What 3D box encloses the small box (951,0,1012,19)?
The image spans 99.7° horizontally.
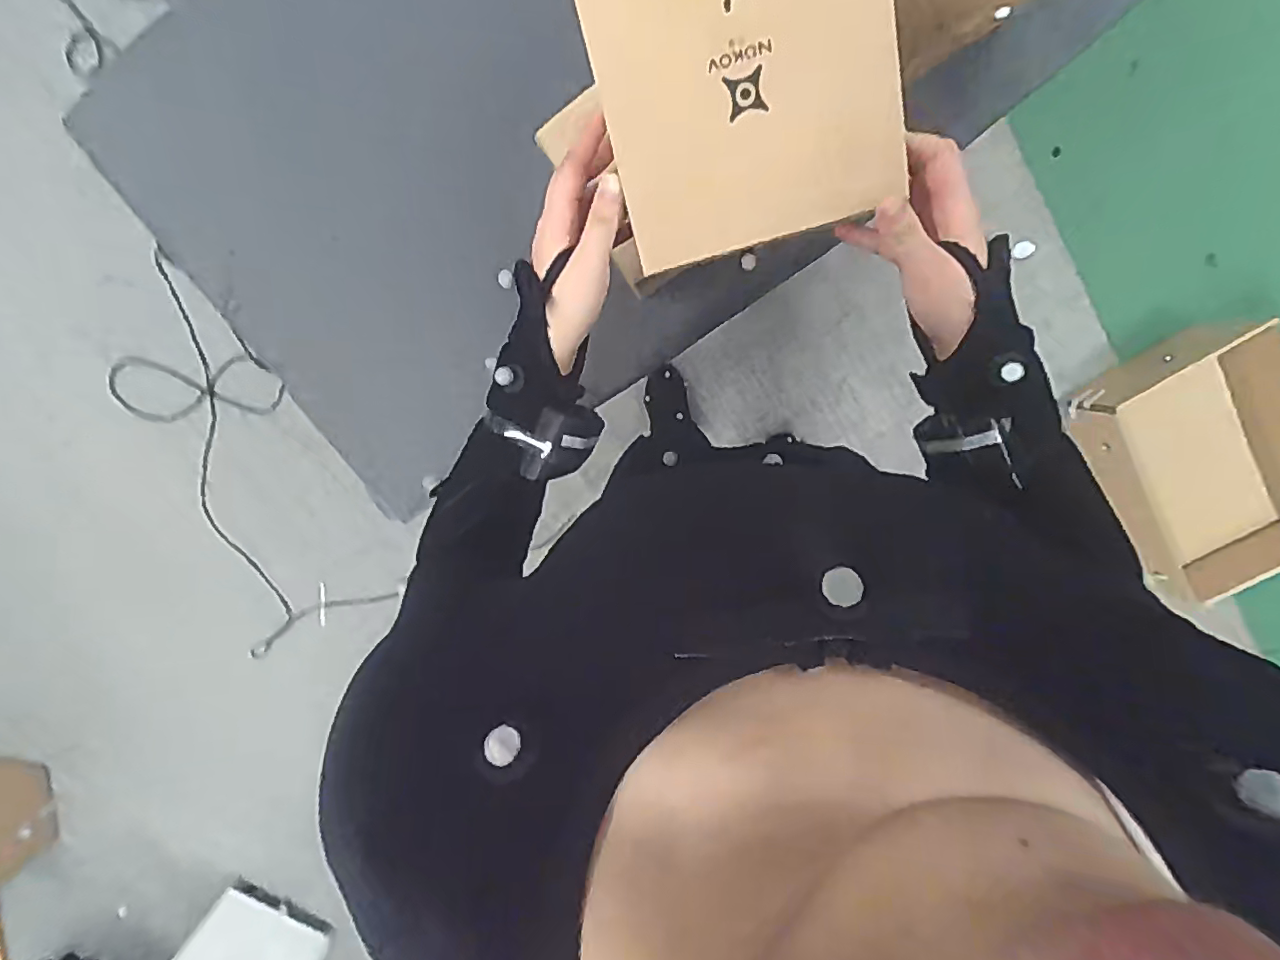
[{"bbox_3d":[0.305,-0.469,0.355,0.179,0.176,0.168,-28,102,8],"label":"small box"}]

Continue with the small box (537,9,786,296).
[{"bbox_3d":[0.022,-0.315,0.568,0.179,0.176,0.168,-33,100,11],"label":"small box"}]

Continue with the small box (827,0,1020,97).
[{"bbox_3d":[0.289,-0.517,0.512,0.179,0.176,0.168,-31,102,7],"label":"small box"}]
